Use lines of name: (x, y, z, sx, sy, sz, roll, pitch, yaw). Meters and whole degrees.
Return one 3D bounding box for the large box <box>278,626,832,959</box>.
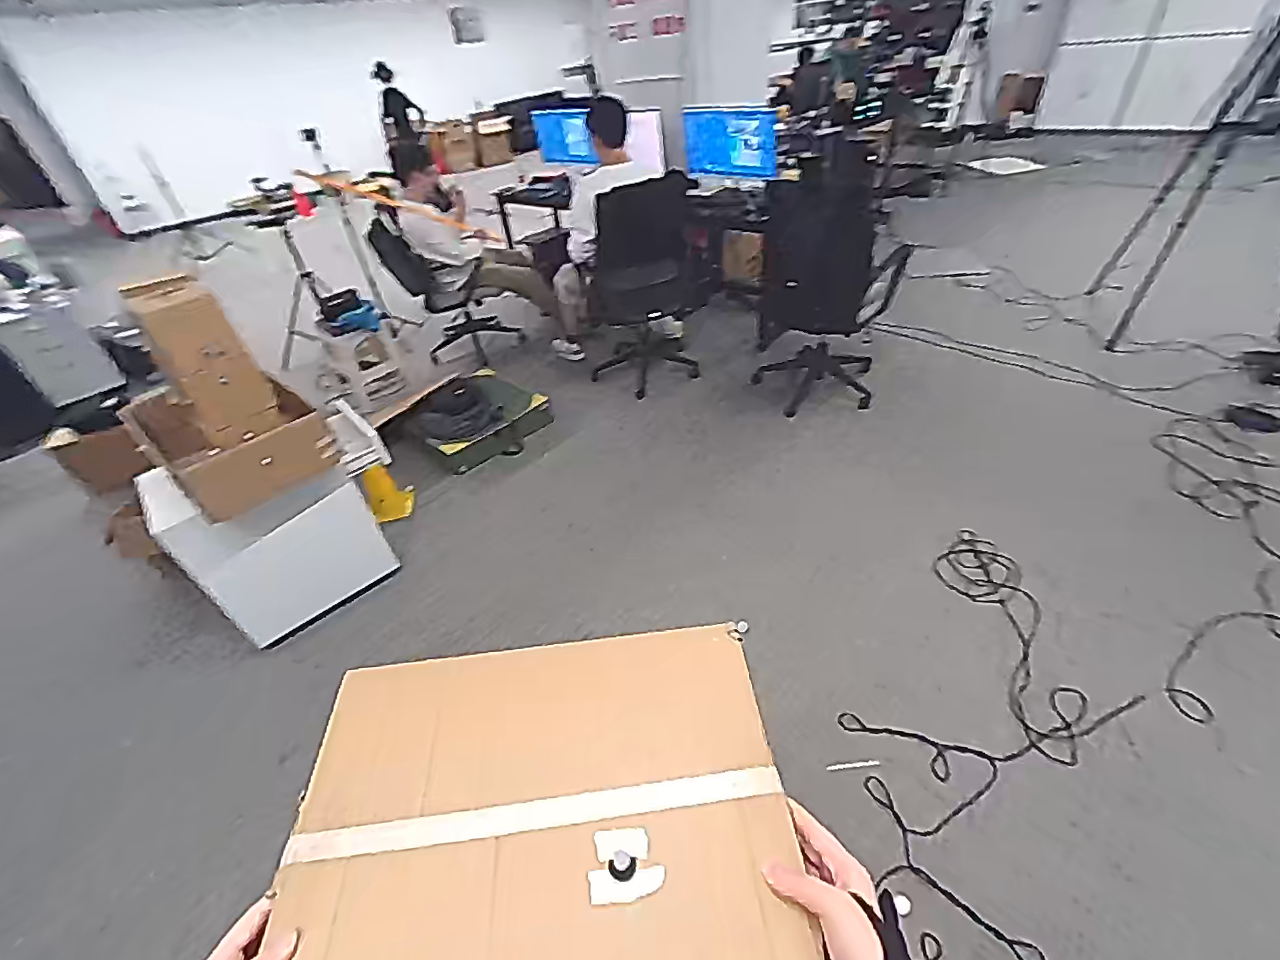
large box: (-0.072, 0.390, 0.561, 0.408, 0.320, 0.320, -5, 43, -3)
